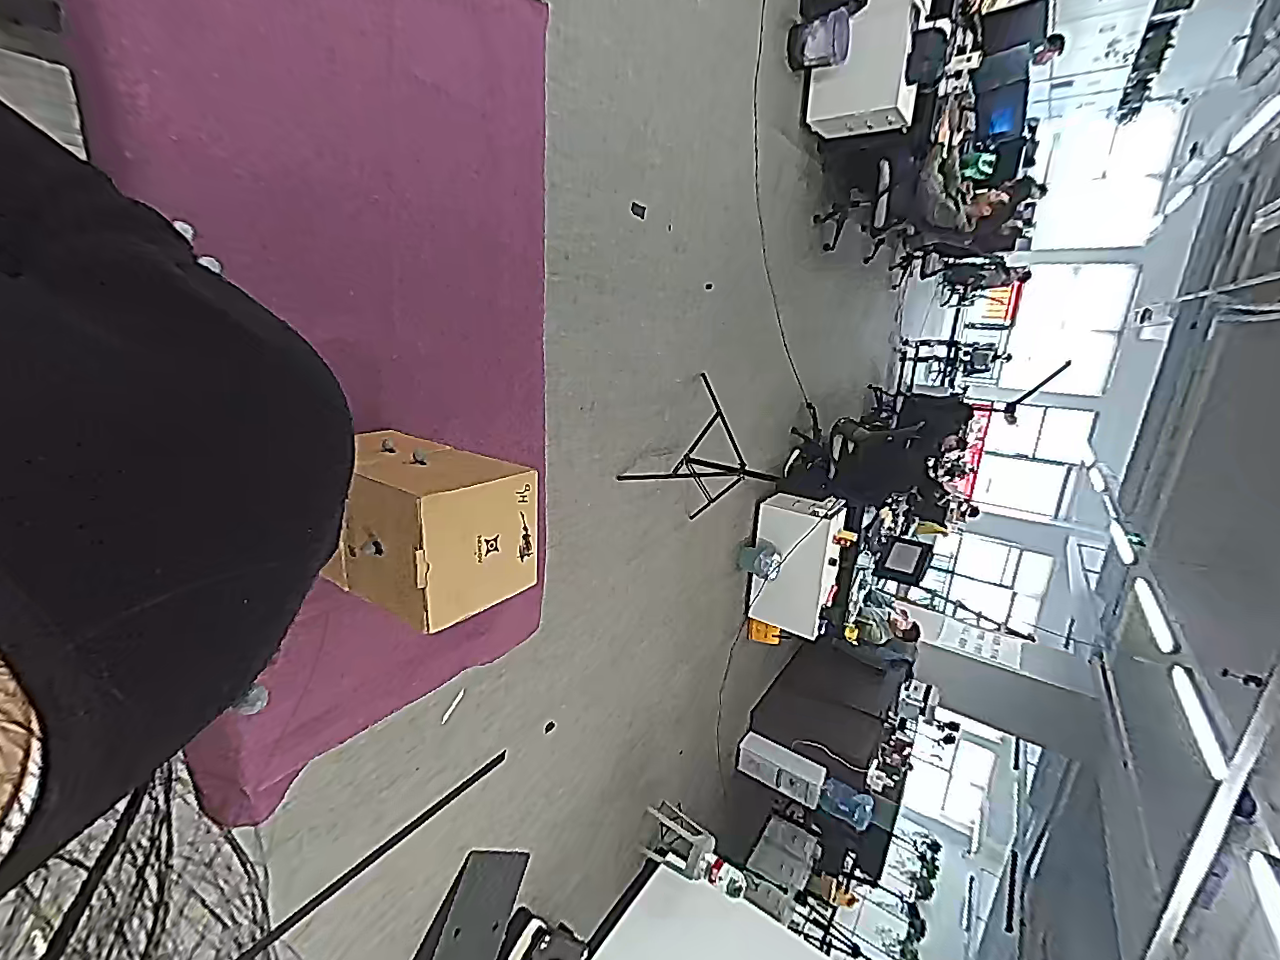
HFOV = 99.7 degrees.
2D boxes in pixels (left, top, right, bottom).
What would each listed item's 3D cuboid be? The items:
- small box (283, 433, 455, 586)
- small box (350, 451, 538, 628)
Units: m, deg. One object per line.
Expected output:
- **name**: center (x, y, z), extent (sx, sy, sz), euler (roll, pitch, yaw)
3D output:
- **small box**: center (-0.391, 0.030, 0.786), extent (0.179, 0.176, 0.168), euler (-19, 117, -53)
- **small box**: center (-0.254, 0.062, 0.702), extent (0.179, 0.176, 0.168), euler (-17, 115, -53)
